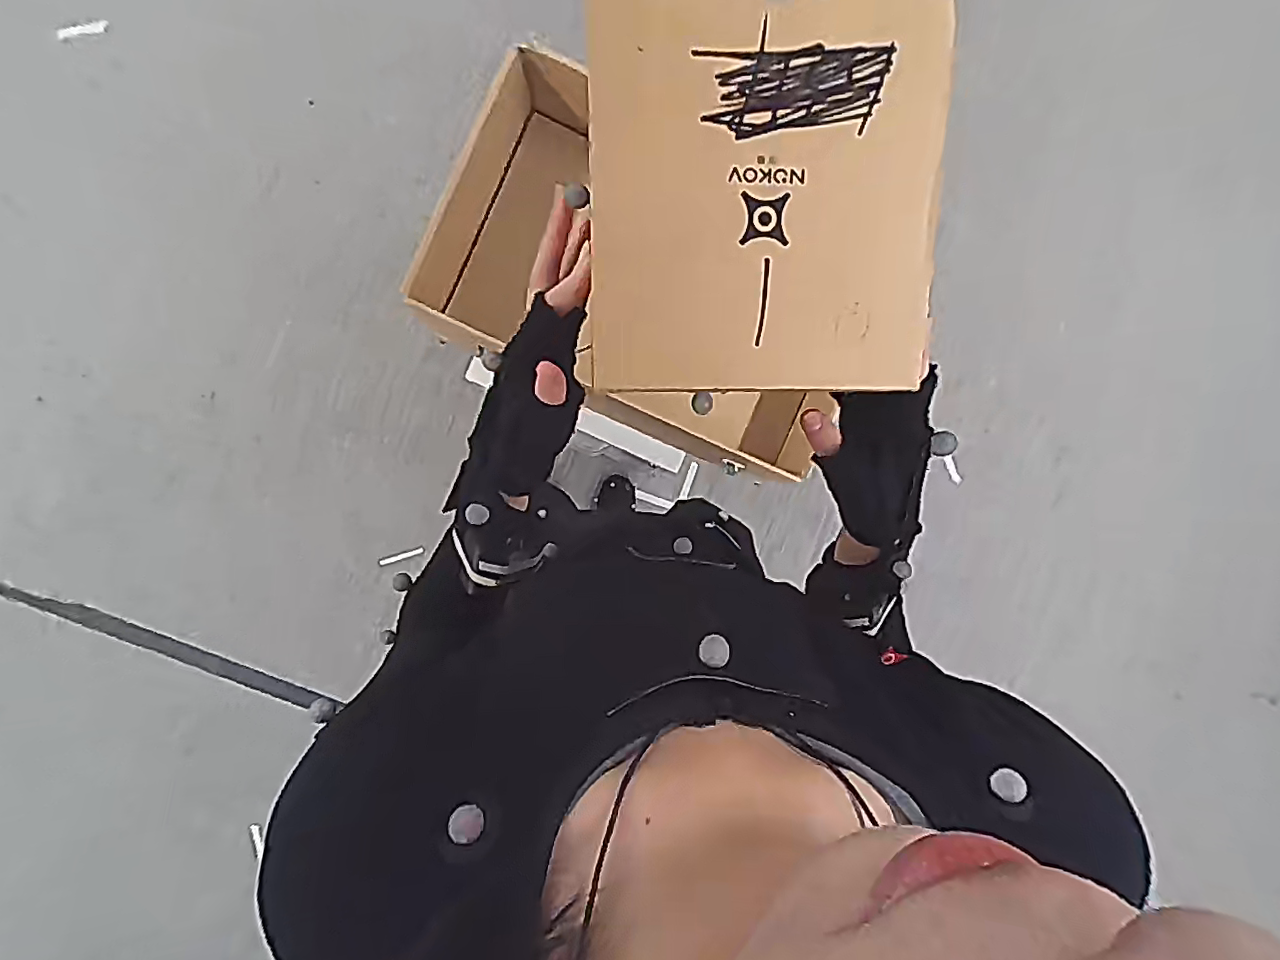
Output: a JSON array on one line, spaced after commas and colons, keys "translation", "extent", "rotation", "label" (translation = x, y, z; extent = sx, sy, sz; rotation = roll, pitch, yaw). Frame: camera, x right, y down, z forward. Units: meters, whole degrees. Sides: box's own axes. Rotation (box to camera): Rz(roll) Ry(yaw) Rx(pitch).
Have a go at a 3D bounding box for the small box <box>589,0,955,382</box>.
[{"translation": [0.053, -0.150, 0.326], "extent": [0.168, 0.176, 0.179], "rotation": [-1, 100, -5], "label": "small box"}]
